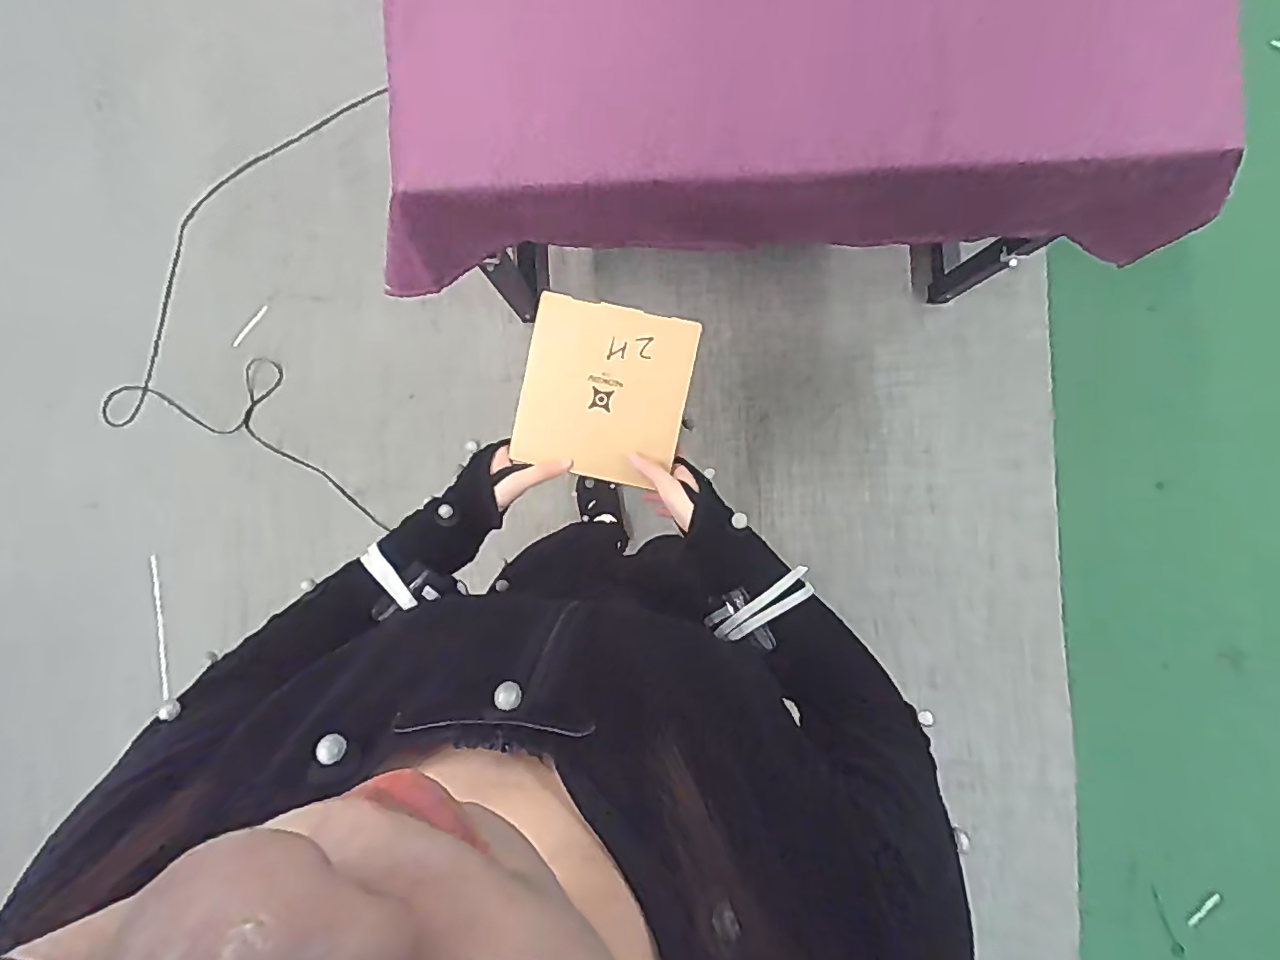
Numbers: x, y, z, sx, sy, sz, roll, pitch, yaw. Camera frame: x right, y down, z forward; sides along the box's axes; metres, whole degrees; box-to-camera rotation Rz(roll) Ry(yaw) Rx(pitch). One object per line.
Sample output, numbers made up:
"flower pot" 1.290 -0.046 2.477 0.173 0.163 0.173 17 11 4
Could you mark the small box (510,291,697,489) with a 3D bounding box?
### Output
"small box" -0.034 -0.094 0.634 0.168 0.176 0.179 13 92 2
